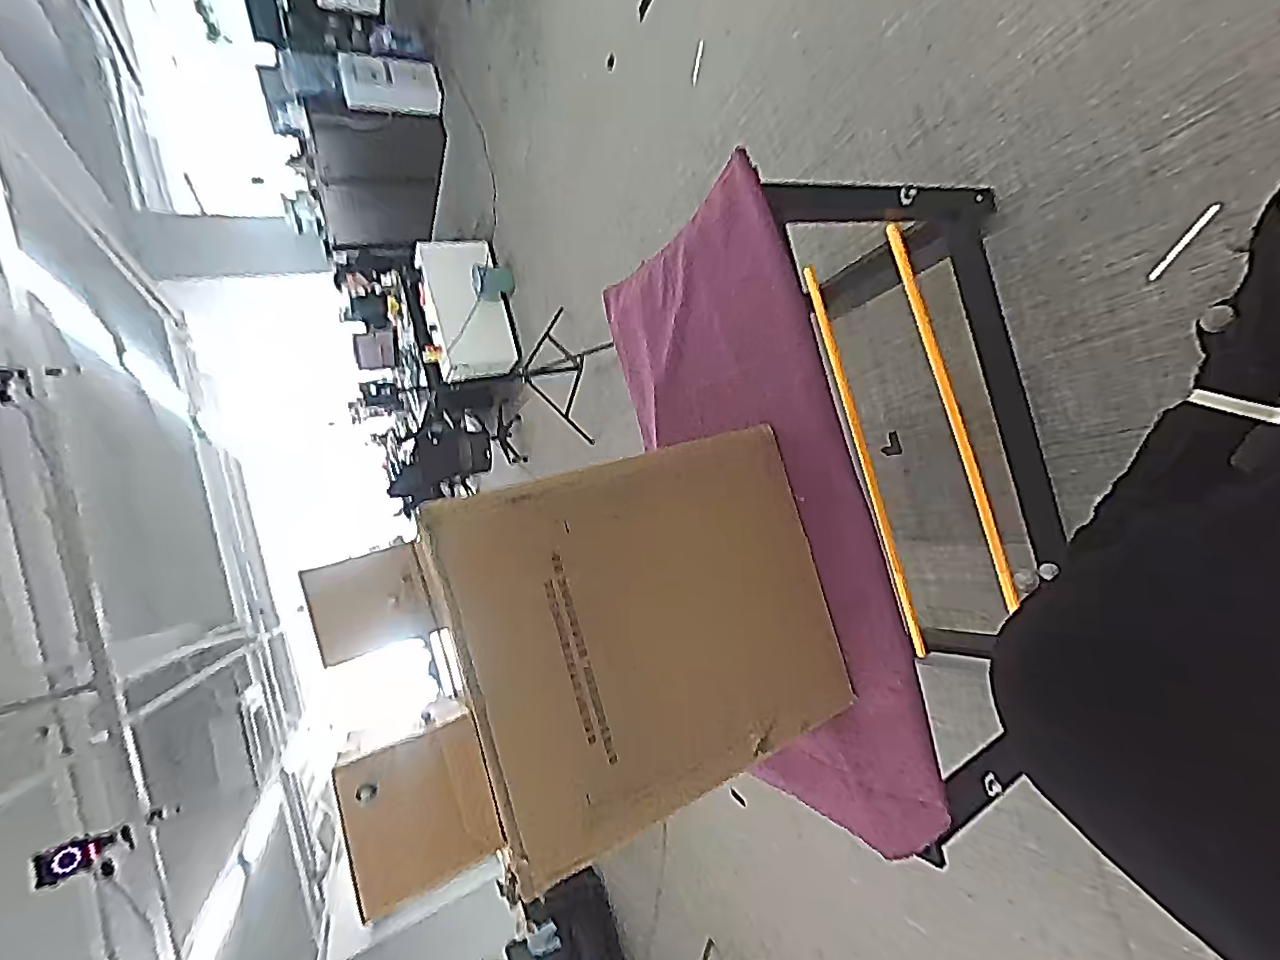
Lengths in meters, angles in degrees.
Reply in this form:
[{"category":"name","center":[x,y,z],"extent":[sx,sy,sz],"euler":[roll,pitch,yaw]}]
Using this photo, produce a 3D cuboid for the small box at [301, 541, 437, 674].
[{"category":"small box","center":[-0.458,0.208,0.929],"extent":[0.179,0.176,0.168],"euler":[-18,88,63]}]
